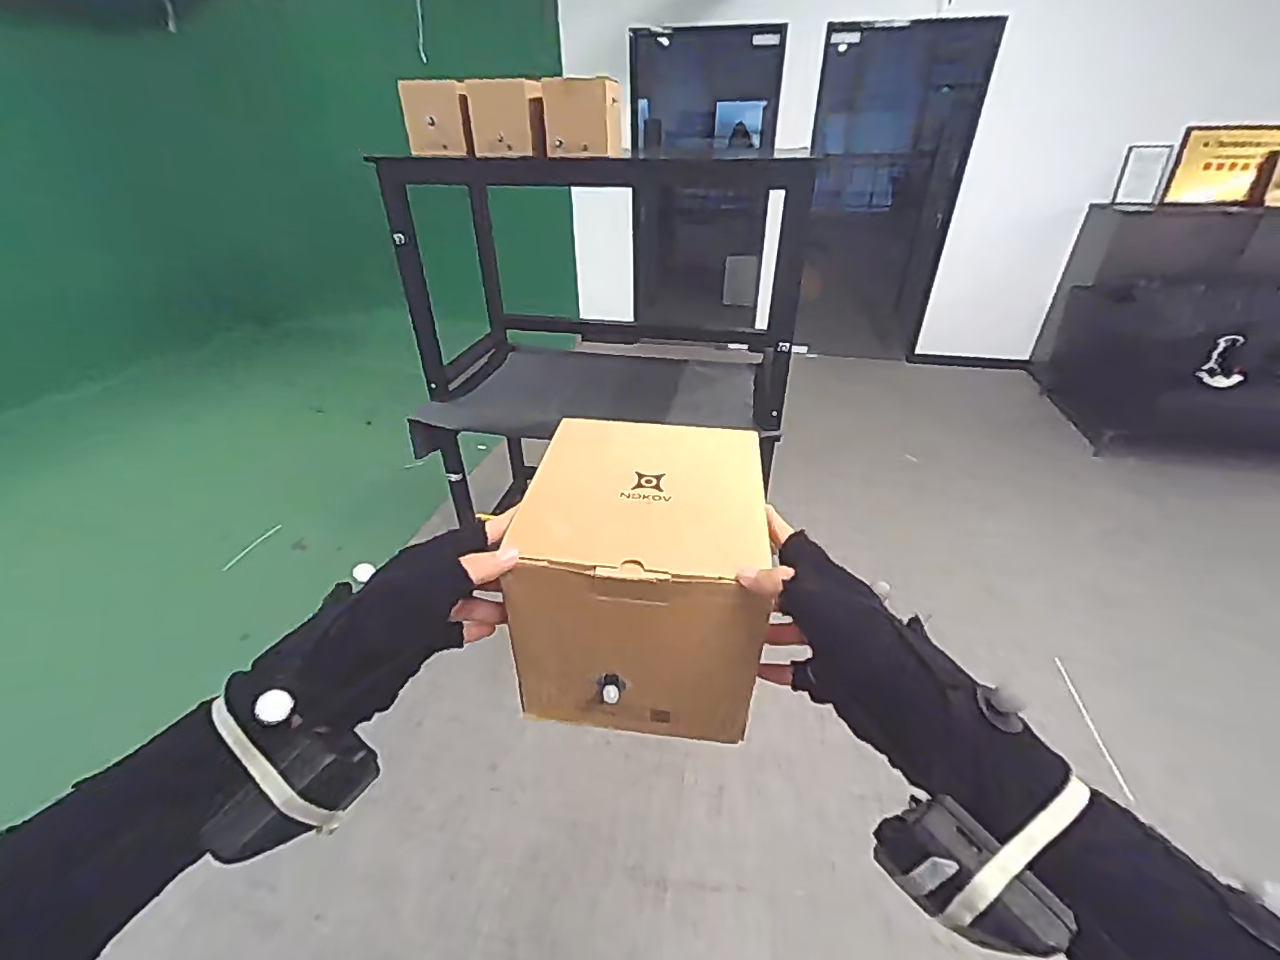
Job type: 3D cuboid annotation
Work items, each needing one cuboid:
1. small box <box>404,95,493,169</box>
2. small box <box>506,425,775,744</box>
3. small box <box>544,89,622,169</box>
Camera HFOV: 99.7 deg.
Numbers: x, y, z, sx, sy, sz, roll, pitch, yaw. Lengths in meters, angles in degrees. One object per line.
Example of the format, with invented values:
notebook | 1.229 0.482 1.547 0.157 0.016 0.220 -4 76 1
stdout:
small box | -0.527 -0.977 1.522 0.168 0.176 0.179 7 33 10
small box | 0.007 0.074 0.431 0.168 0.176 0.179 4 34 5
small box | -0.142 -0.926 1.436 0.168 0.176 0.179 5 32 8
